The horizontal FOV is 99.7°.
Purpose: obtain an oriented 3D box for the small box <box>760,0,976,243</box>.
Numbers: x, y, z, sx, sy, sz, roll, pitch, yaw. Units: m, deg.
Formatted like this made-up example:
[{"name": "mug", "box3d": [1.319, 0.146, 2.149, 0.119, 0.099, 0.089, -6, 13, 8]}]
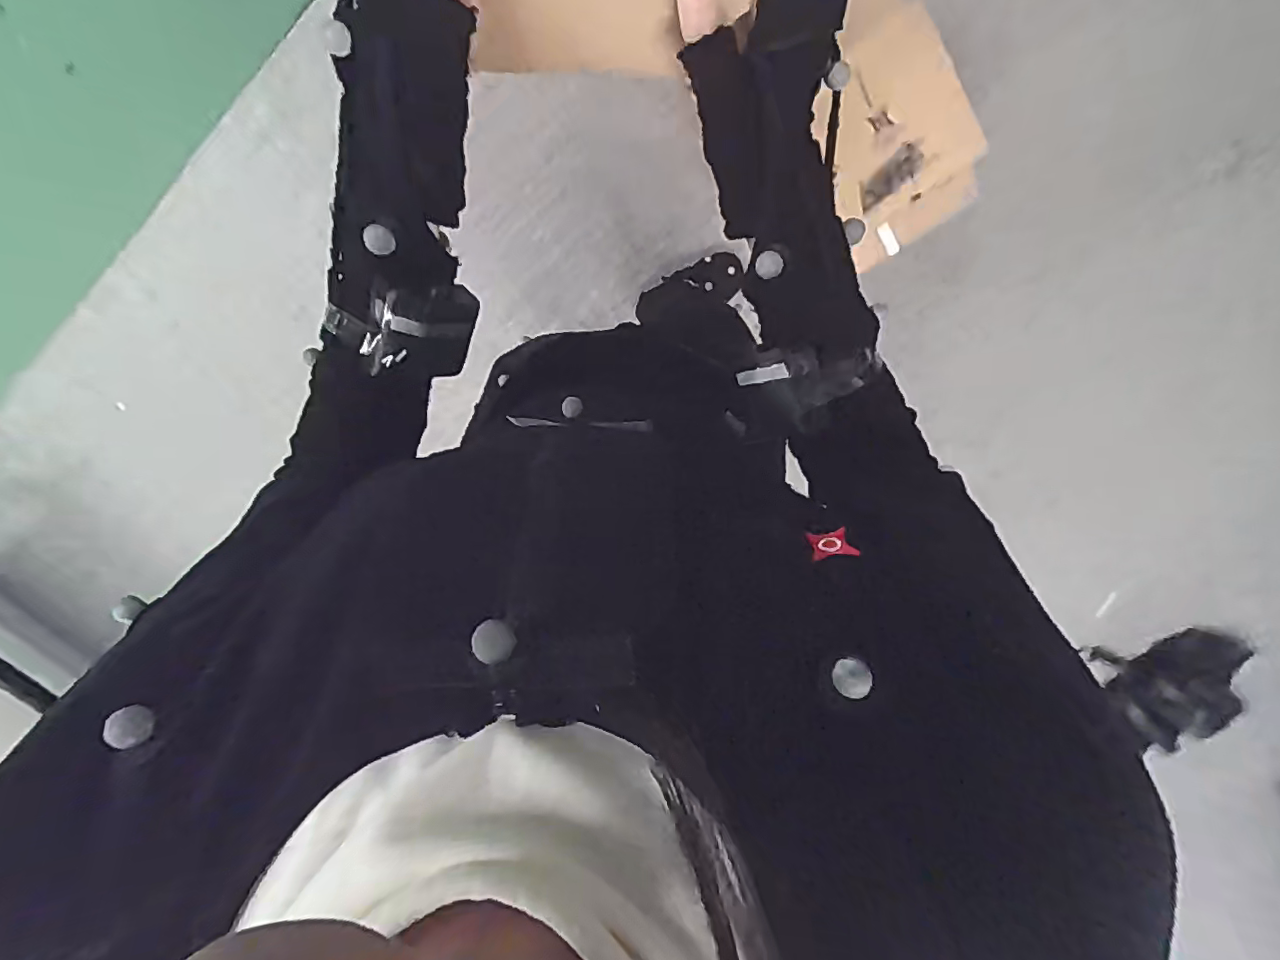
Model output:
[{"name": "small box", "box3d": [0.267, -0.423, 0.667, 0.168, 0.176, 0.179, -31, 109, 19]}]
